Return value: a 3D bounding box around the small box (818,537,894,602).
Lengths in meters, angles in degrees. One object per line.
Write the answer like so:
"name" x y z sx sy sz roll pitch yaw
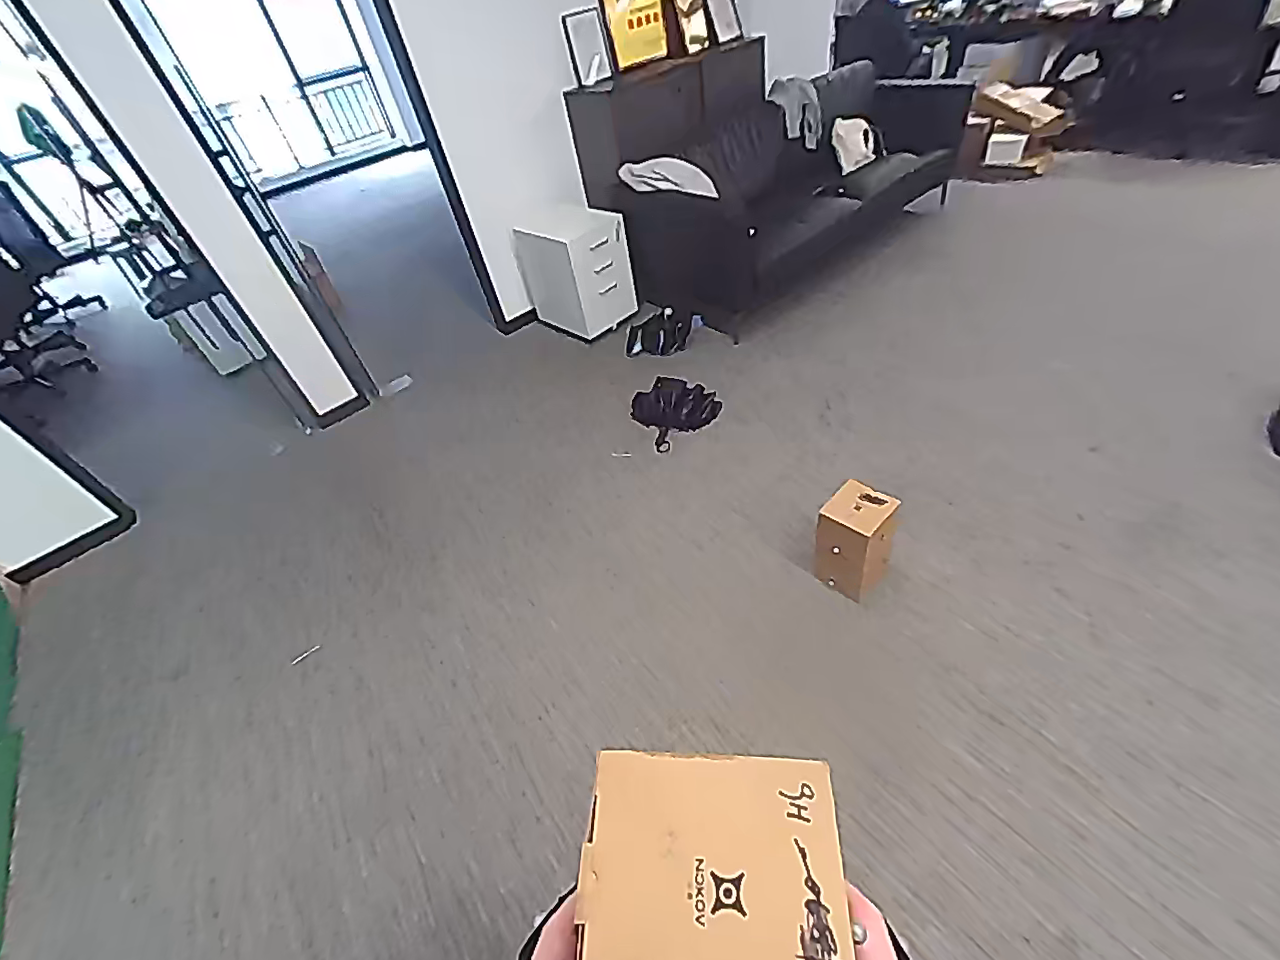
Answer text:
"small box" 0.688 0.255 1.747 0.179 0.176 0.168 -39 47 -24

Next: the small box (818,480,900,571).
"small box" 0.653 0.139 1.635 0.179 0.176 0.168 -38 47 -24
